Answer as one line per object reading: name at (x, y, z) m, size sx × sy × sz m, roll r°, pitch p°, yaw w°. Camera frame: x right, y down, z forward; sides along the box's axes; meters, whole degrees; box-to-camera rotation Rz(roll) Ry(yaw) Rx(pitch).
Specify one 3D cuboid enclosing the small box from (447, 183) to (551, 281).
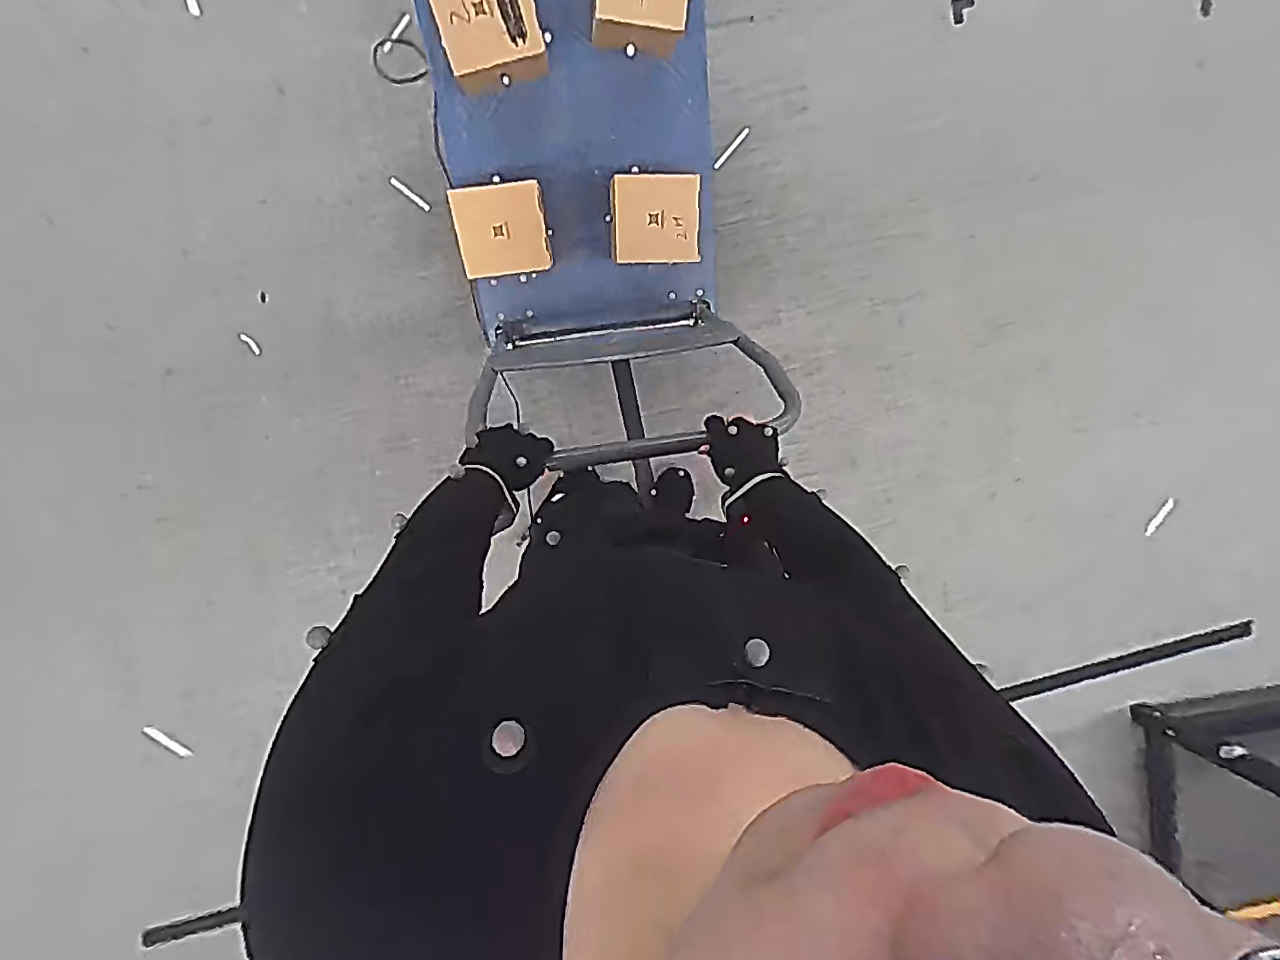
small box at (-0.291, -0.524, 1.154) m, size 0.179 × 0.176 × 0.168 m, roll -10°, pitch 114°, yaw -5°

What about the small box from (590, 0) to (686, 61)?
small box at (-0.005, -0.928, 1.015) m, size 0.168 × 0.176 × 0.179 m, roll 2°, pitch 114°, yaw -8°

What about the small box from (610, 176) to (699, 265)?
small box at (0.024, -0.560, 1.180) m, size 0.179 × 0.176 × 0.168 m, roll -3°, pitch 114°, yaw -6°
